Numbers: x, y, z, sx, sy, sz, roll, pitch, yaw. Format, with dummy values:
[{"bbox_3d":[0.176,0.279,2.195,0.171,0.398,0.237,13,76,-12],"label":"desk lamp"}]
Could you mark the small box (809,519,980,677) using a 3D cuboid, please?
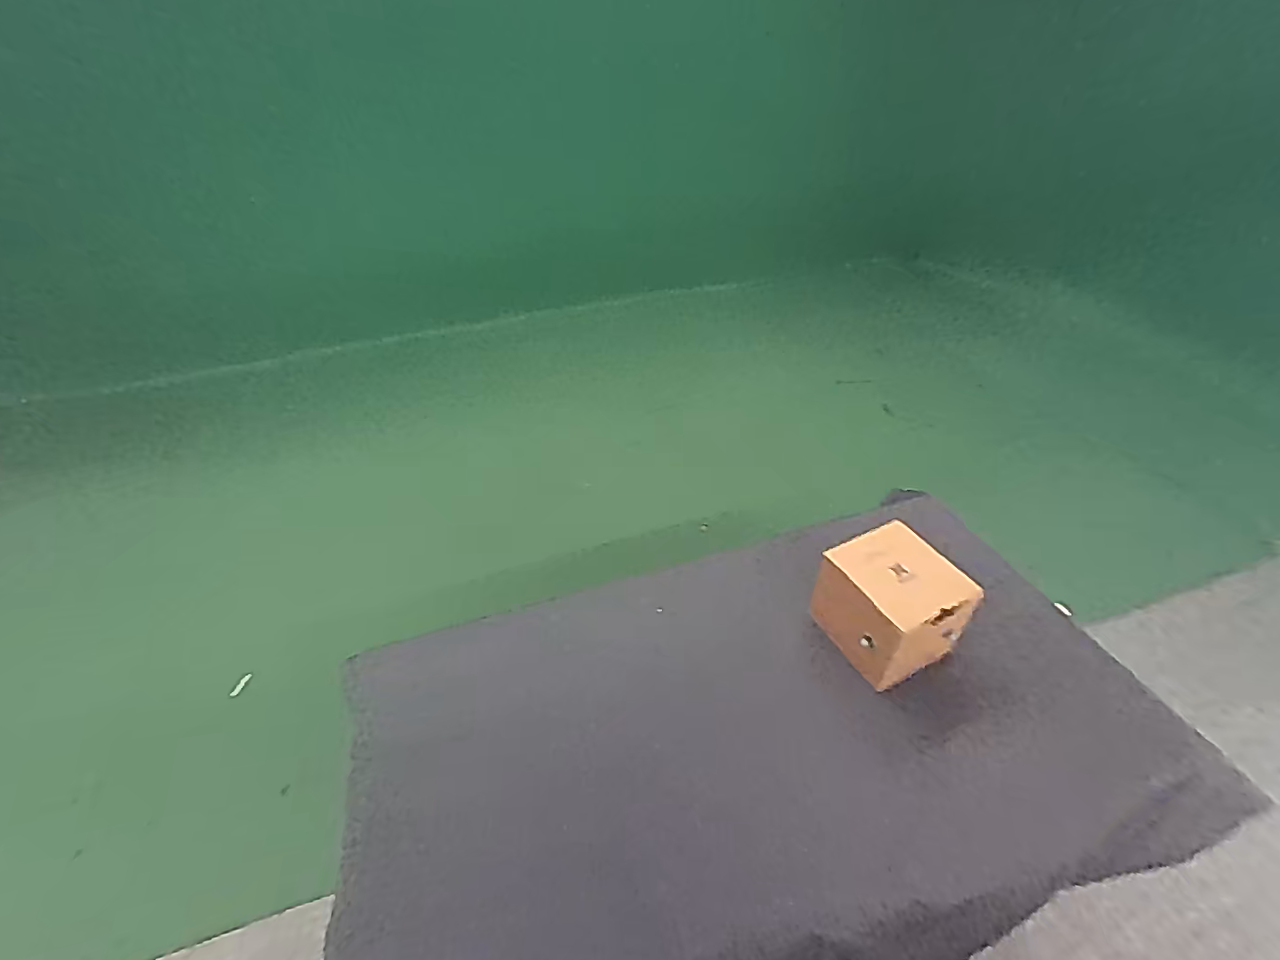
[{"bbox_3d":[0.412,0.202,0.906,0.168,0.176,0.179,-18,43,-19],"label":"small box"}]
